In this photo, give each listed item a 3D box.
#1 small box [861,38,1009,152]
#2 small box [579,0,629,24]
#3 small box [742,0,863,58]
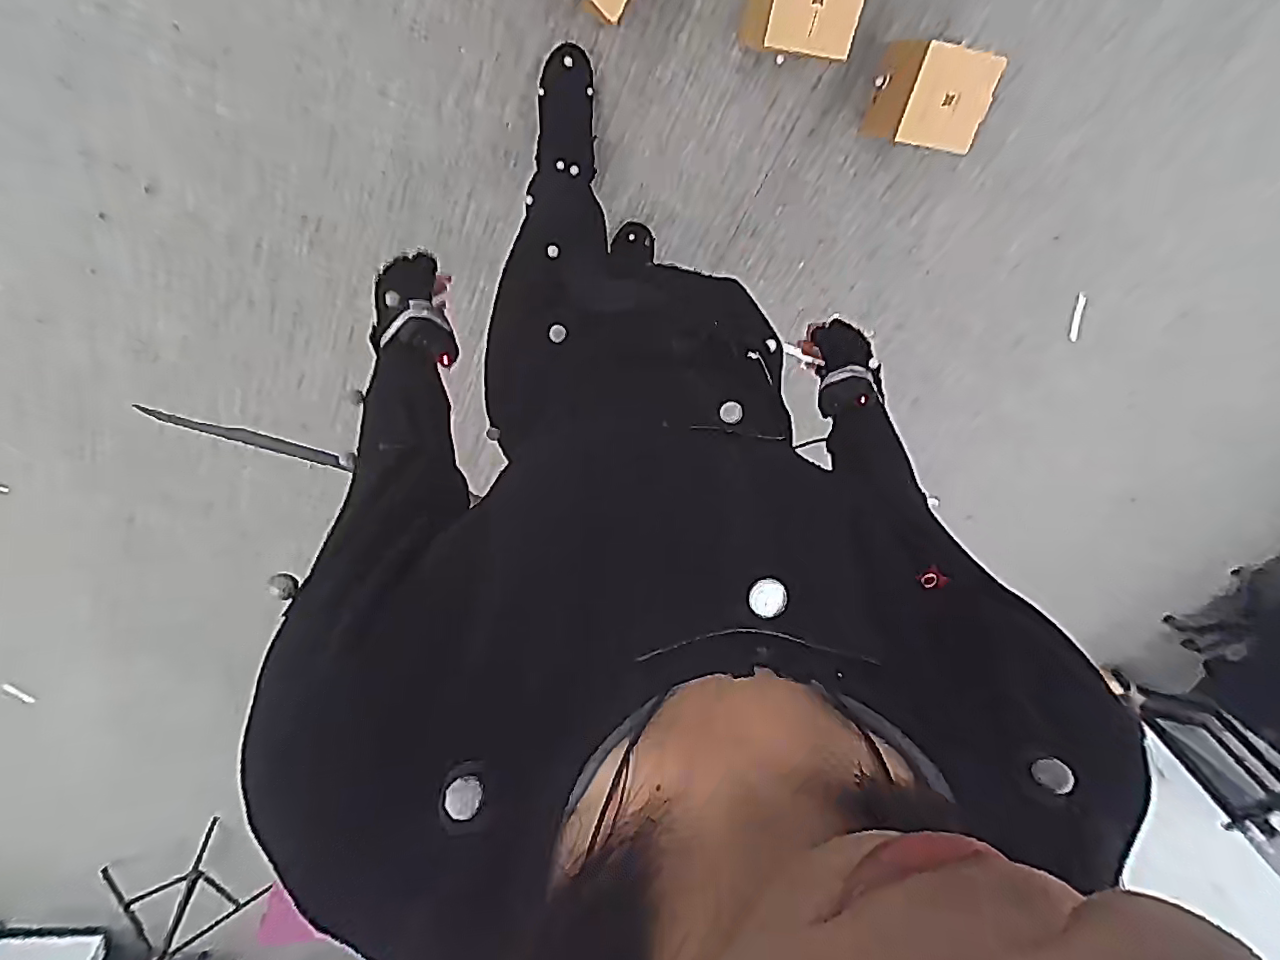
[{"bbox_3d":[0.600,-0.800,1.124,0.179,0.176,0.168,2,127,-10],"label":"small box"},{"bbox_3d":[-0.071,-0.925,0.917,0.179,0.176,0.168,30,118,-28],"label":"small box"},{"bbox_3d":[0.301,-0.900,0.994,0.168,0.176,0.179,2,128,-10],"label":"small box"}]
